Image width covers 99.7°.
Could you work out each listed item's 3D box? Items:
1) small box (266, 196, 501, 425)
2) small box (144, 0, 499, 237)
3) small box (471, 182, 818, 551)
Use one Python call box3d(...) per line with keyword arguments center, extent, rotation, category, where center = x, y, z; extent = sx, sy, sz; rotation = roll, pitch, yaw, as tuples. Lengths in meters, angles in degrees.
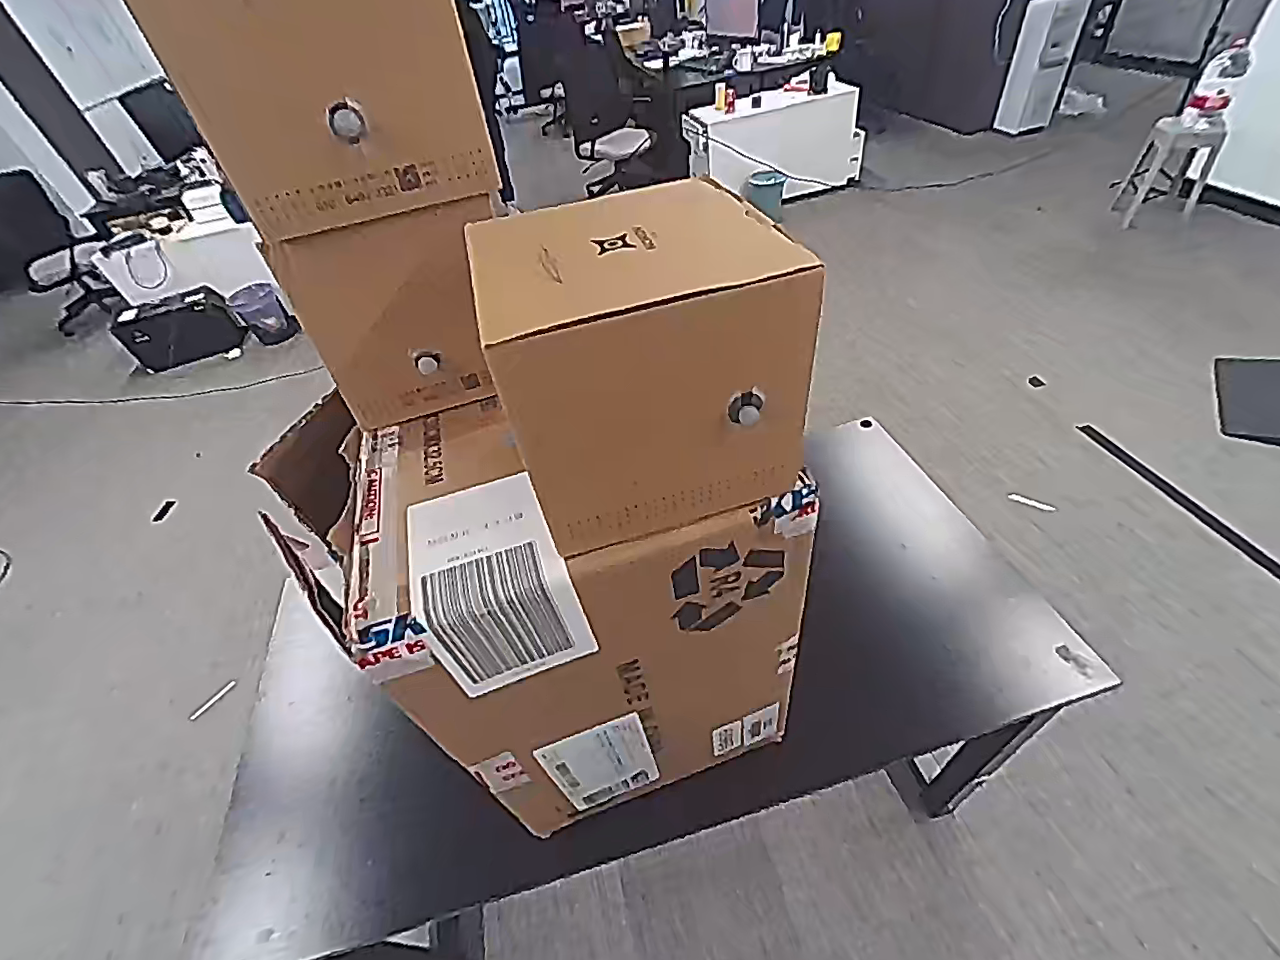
box3d(center=(-0.205, -0.179, 0.507), extent=(0.168, 0.176, 0.179), rotation=(-18, 45, -10), category="small box")
box3d(center=(-0.215, -0.295, 0.388), extent=(0.168, 0.176, 0.179), rotation=(-20, 44, -11), category="small box")
box3d(center=(-0.002, -0.079, 0.378), extent=(0.179, 0.176, 0.168), rotation=(-17, 45, -6), category="small box")
